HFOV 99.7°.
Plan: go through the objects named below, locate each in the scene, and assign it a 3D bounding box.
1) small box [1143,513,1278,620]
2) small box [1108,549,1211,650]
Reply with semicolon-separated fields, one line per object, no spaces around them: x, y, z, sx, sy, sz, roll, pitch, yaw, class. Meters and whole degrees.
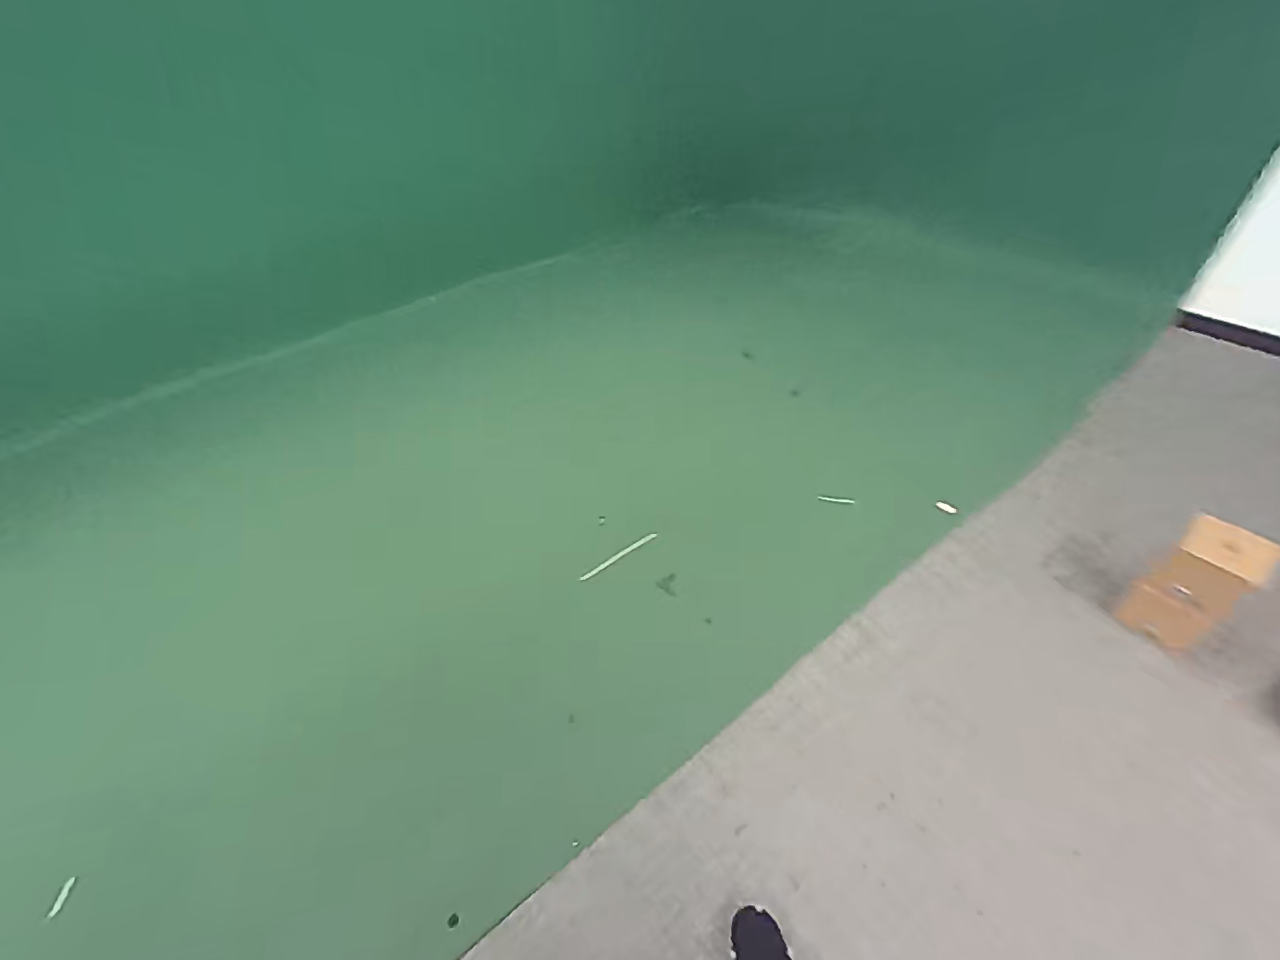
1.463;0.223;1.396;0.179;0.176;0.168;-31;48;-26;small box
1.467;0.334;1.511;0.179;0.176;0.168;-34;51;-25;small box
